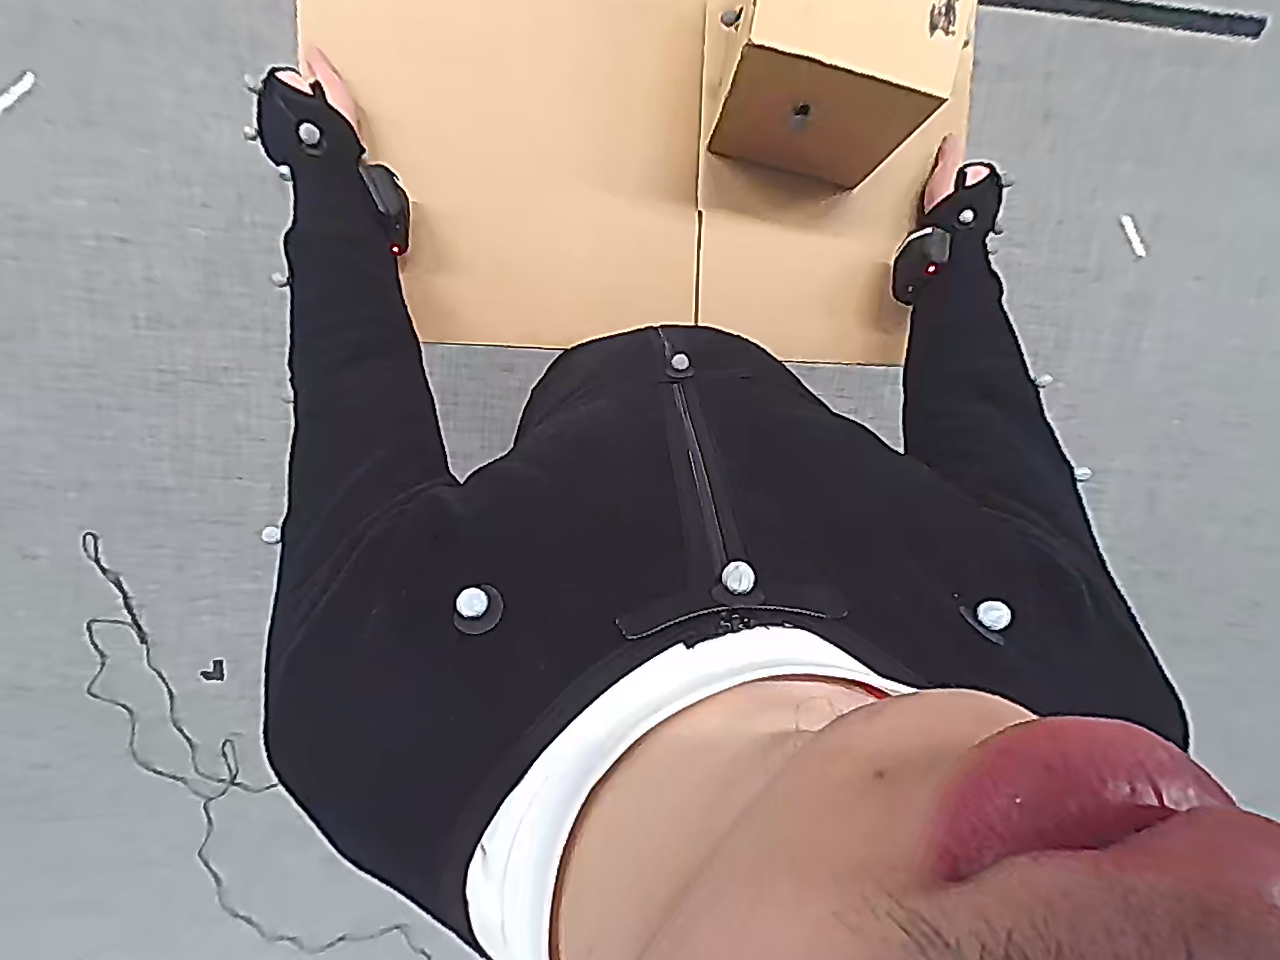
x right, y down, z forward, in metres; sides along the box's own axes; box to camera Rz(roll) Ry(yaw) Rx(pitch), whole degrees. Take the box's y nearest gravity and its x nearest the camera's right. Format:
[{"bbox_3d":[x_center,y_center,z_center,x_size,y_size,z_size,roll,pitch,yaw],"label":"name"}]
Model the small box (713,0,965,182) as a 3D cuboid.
[{"bbox_3d":[0.178,-0.417,0.517,0.179,0.176,0.168,12,95,-4],"label":"small box"}]
